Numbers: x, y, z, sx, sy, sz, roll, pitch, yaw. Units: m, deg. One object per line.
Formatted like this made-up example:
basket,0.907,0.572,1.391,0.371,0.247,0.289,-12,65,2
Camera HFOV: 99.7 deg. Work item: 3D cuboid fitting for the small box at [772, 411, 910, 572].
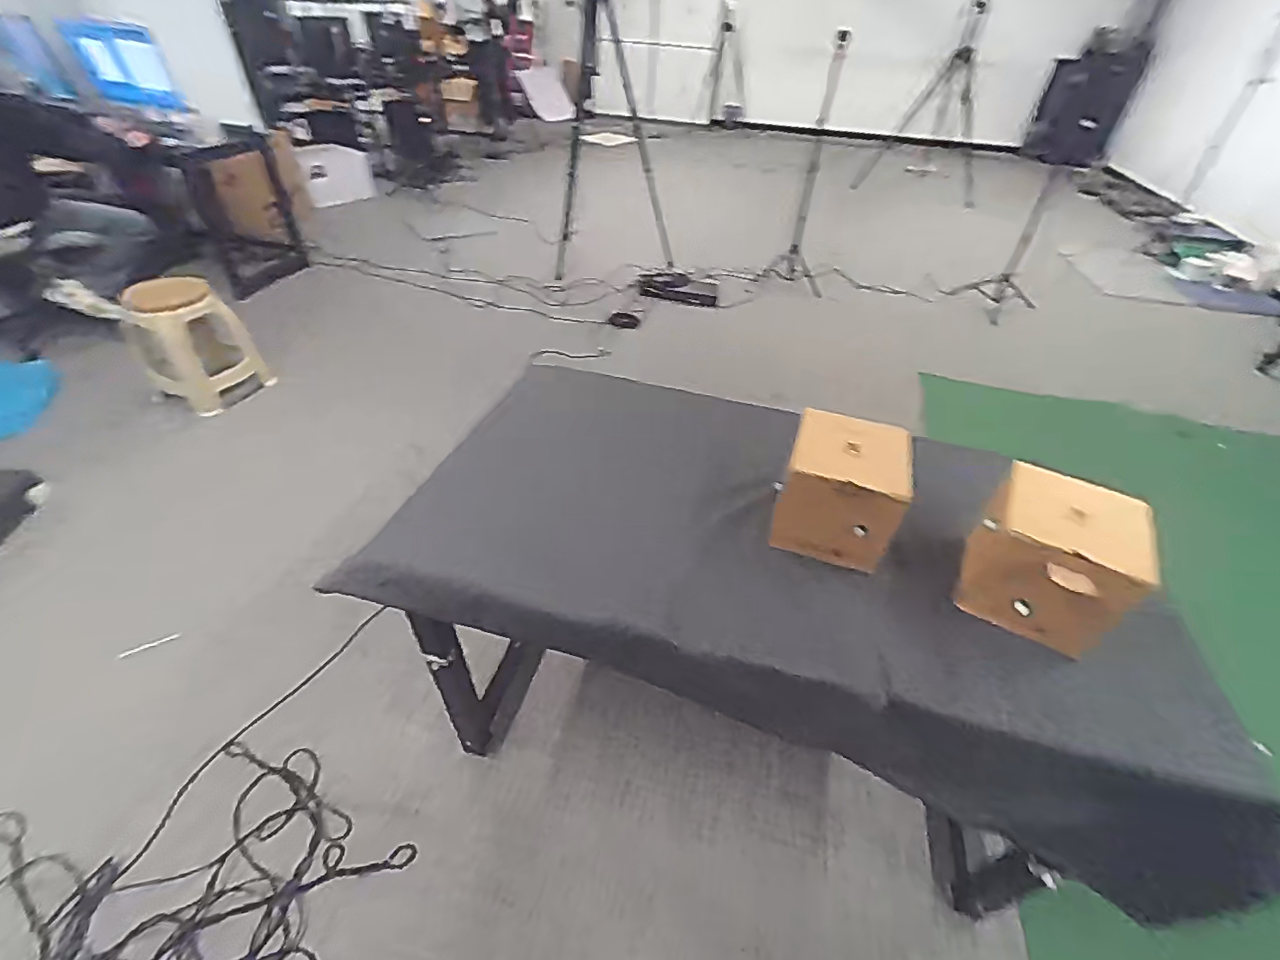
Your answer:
small box,0.316,0.018,0.867,0.168,0.176,0.179,15,42,12

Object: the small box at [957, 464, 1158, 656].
small box,0.584,0.112,0.776,0.168,0.176,0.179,24,46,22
